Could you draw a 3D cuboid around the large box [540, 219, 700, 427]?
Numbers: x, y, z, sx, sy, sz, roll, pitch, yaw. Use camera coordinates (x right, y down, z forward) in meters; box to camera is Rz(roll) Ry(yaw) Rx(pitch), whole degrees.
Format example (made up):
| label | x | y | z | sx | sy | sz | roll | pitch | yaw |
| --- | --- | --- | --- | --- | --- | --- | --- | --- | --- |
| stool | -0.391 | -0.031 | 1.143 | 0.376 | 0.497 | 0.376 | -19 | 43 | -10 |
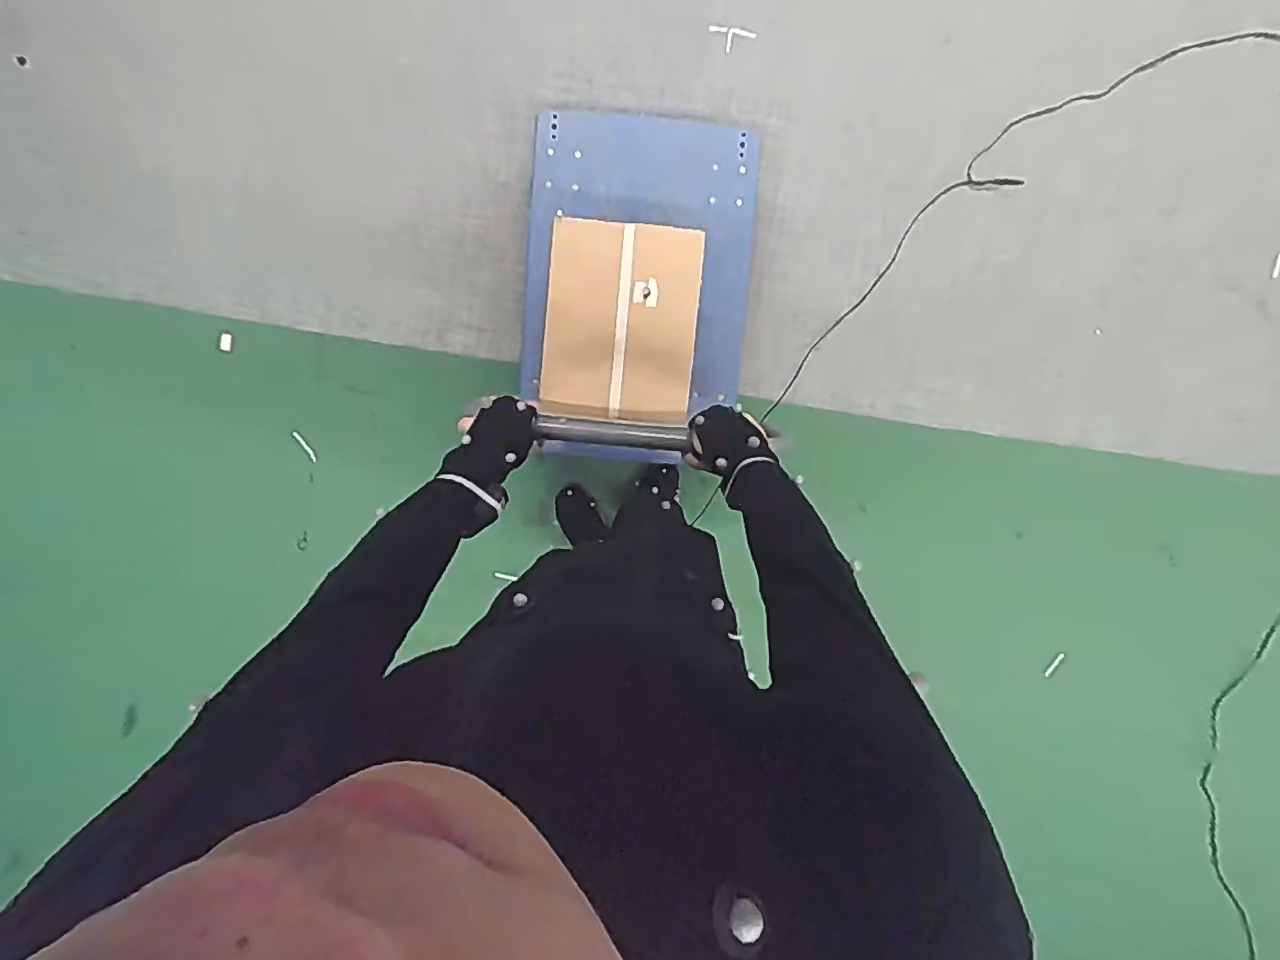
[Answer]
| label | x | y | z | sx | sy | sz | roll | pitch | yaw |
| --- | --- | --- | --- | --- | --- | --- | --- | --- | --- |
| large box | -0.044 | -0.339 | 1.278 | 0.320 | 0.320 | 0.408 | 6 | 93 | -2 |
